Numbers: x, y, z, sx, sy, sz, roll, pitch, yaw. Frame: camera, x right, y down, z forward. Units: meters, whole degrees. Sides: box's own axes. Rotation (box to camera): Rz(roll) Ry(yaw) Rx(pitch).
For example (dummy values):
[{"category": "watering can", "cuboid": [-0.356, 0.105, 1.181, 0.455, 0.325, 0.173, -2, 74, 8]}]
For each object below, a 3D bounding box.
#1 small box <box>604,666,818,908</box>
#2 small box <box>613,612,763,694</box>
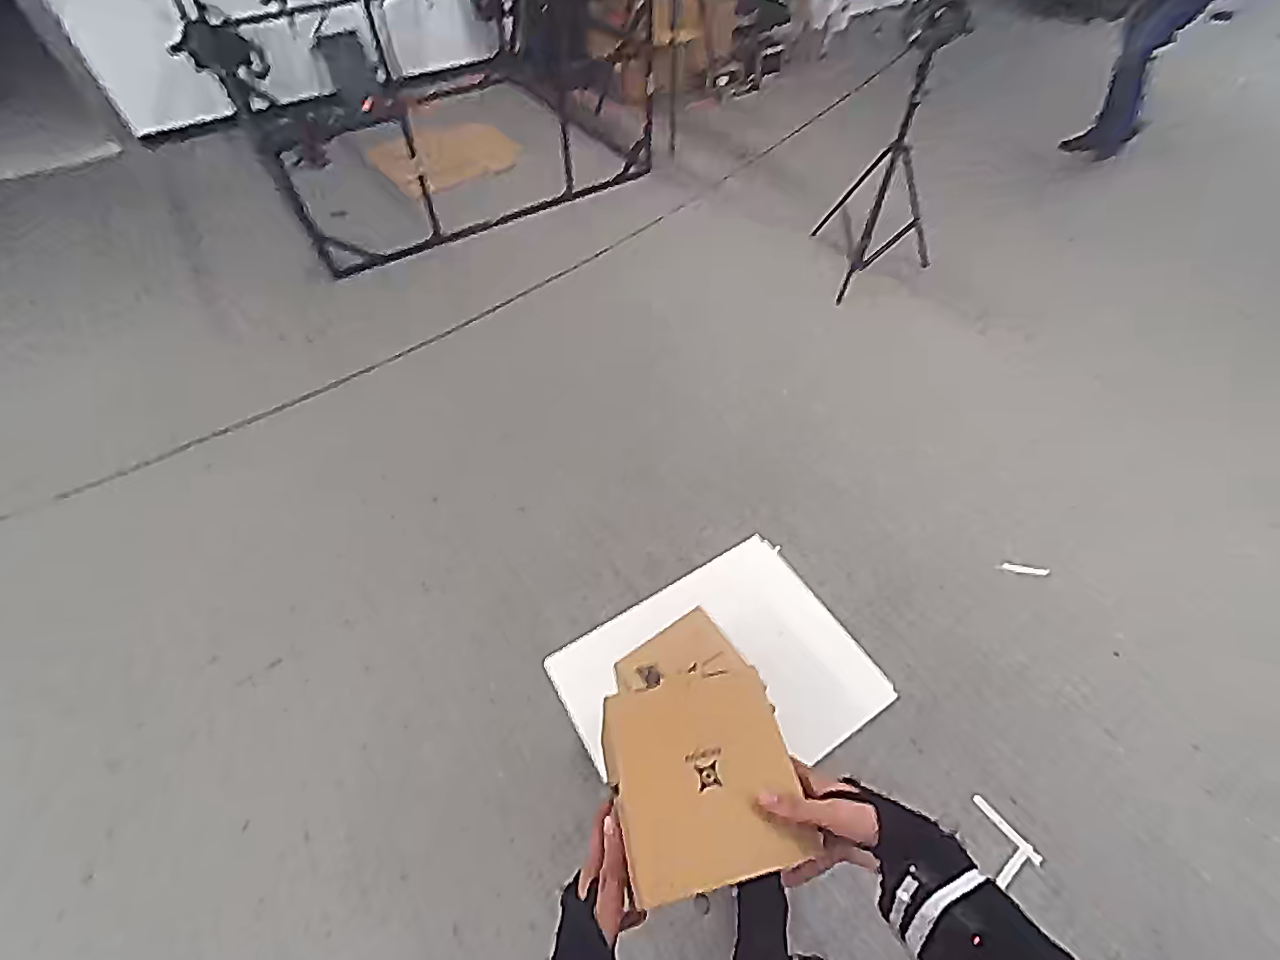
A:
[{"category": "small box", "cuboid": [0.058, 0.327, 0.576, 0.168, 0.176, 0.179, -8, 51, -11]}, {"category": "small box", "cuboid": [0.074, 0.357, 0.888, 0.179, 0.176, 0.168, -29, 58, -21]}]
